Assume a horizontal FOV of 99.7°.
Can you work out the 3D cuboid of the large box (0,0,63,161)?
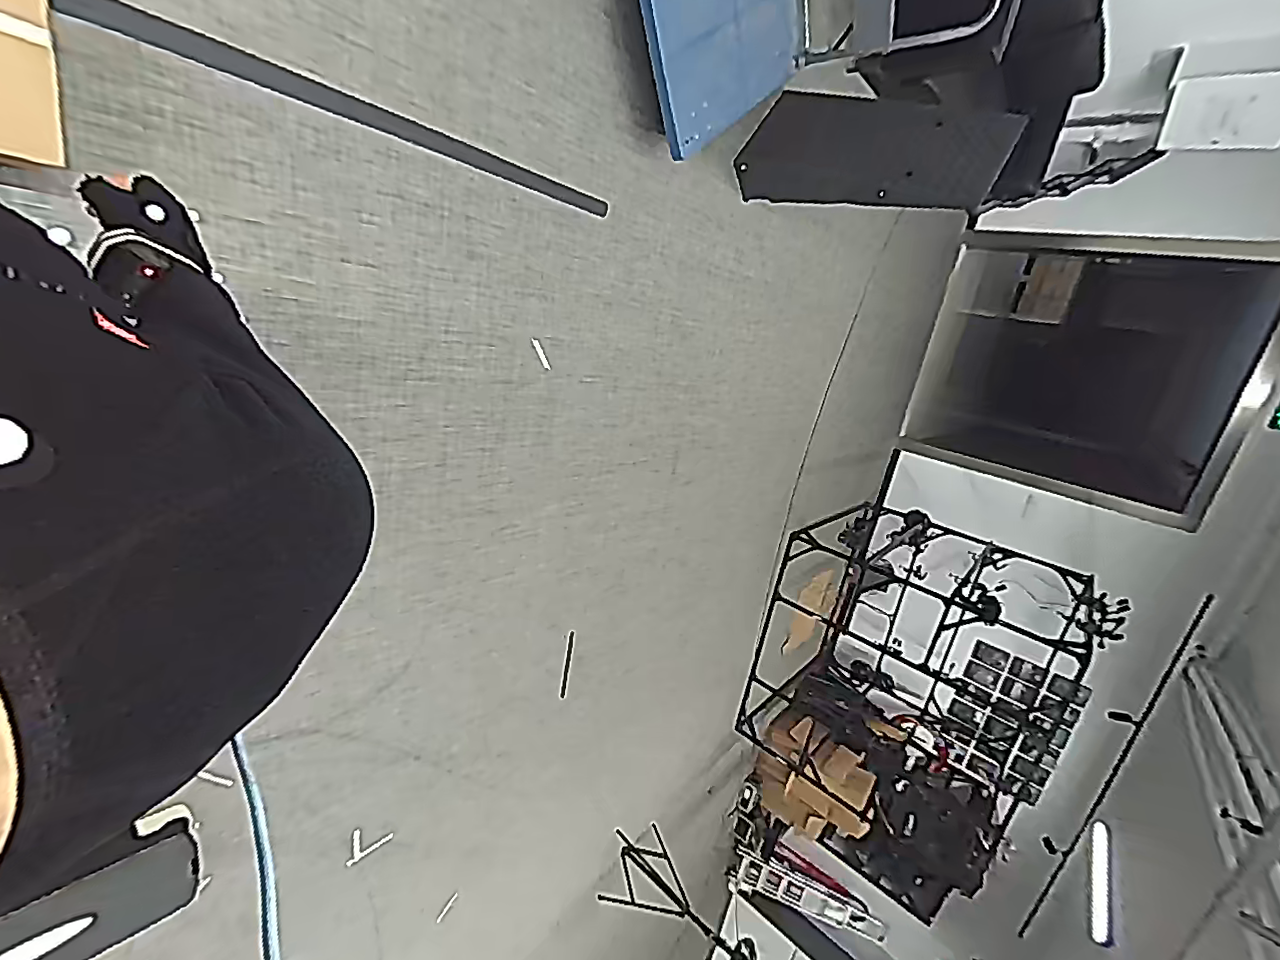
[{"bbox_3d":[-1.034,-0.621,0.656,0.408,0.320,0.320,-11,118,-51],"label":"large box"}]
